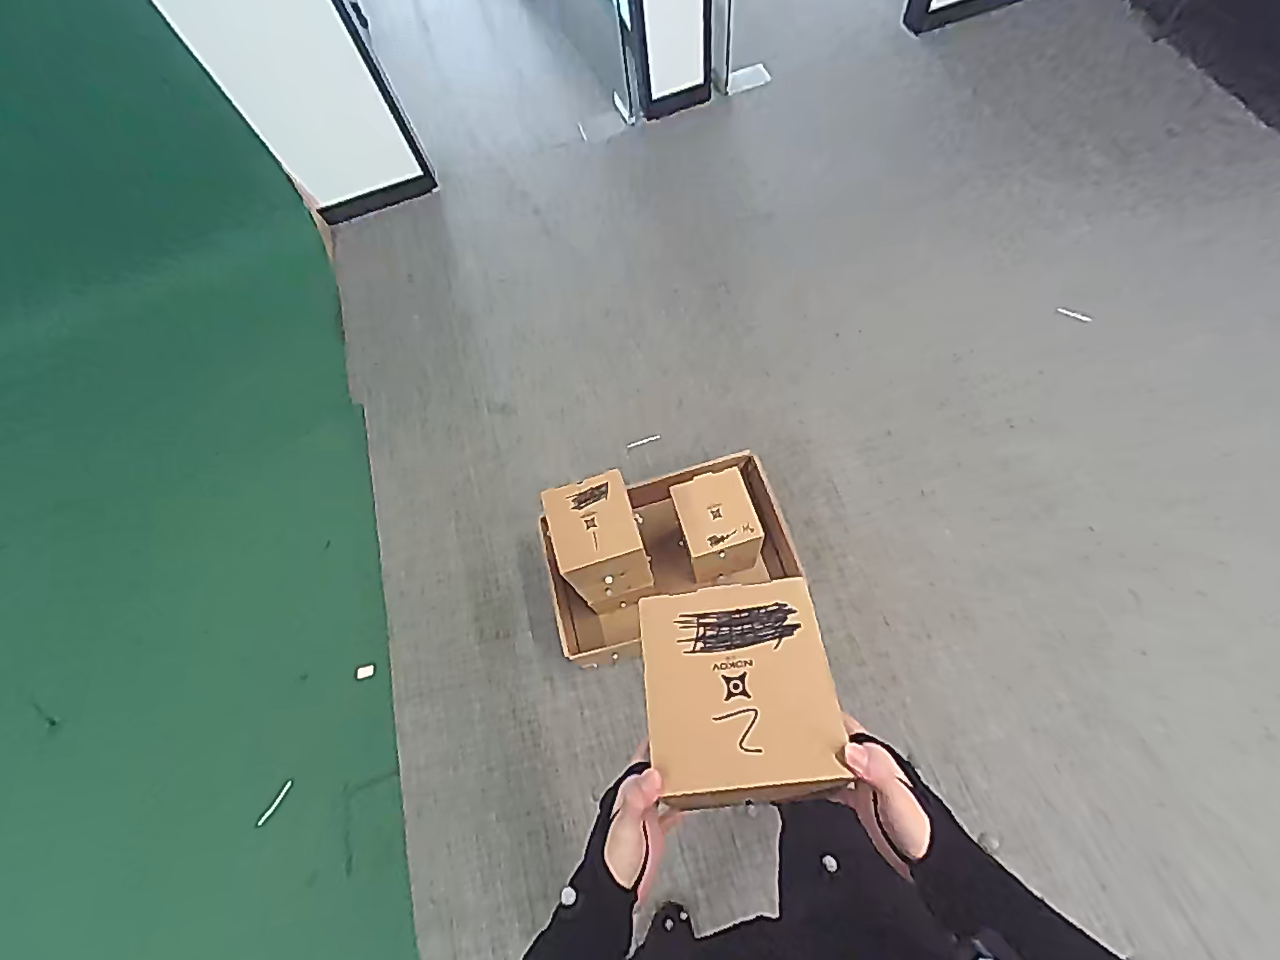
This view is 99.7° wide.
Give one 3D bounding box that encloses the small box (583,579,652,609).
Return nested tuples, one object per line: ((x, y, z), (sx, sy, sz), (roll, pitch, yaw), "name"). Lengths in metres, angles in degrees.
((-0.070, 0.231, 1.413), (0.168, 0.176, 0.179), (-16, 67, -1), "small box")

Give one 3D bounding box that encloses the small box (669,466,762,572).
((0.173, 0.096, 1.265), (0.168, 0.176, 0.179), (-17, 66, 1), "small box")

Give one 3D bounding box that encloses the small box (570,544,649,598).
((-0.081, 0.168, 1.265), (0.168, 0.176, 0.179), (-17, 66, -1), "small box")

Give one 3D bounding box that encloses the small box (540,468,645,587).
((-0.093, 0.104, 1.114), (0.168, 0.176, 0.179), (-17, 67, -1), "small box")
